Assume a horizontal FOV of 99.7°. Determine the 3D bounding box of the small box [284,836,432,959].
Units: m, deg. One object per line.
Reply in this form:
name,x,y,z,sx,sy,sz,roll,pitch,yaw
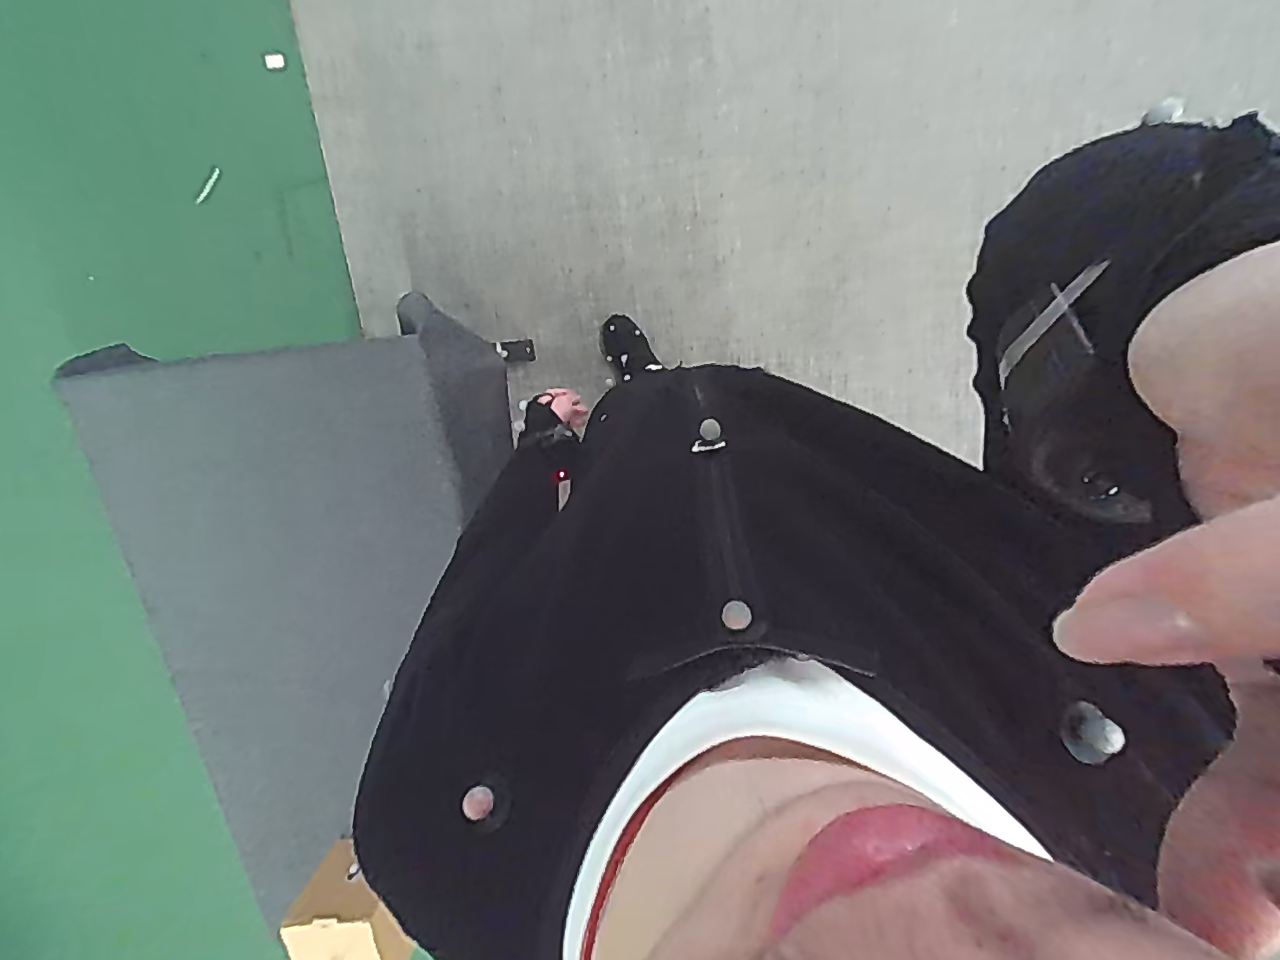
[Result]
small box,-0.516,0.805,1.016,0.168,0.176,0.179,-6,103,5
